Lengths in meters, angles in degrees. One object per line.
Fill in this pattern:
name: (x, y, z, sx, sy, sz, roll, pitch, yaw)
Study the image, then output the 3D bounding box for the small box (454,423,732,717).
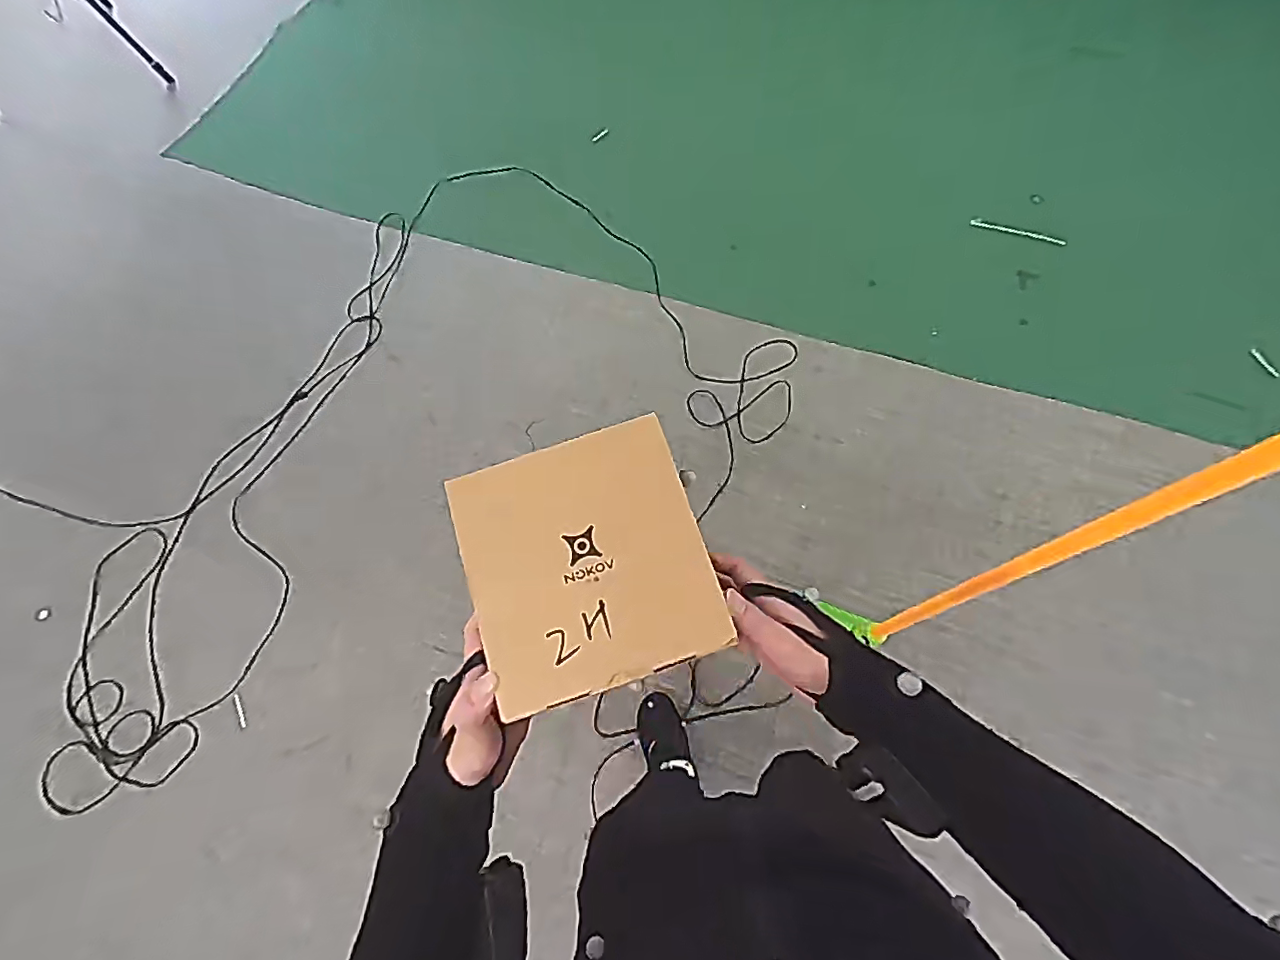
small box: (-0.035, 0.079, 0.460, 0.168, 0.176, 0.179, -18, 75, -1)

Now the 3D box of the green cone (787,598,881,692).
green cone: (0.500, 0.373, 1.287, 0.202, 0.368, 0.200, 20, 71, 12)
